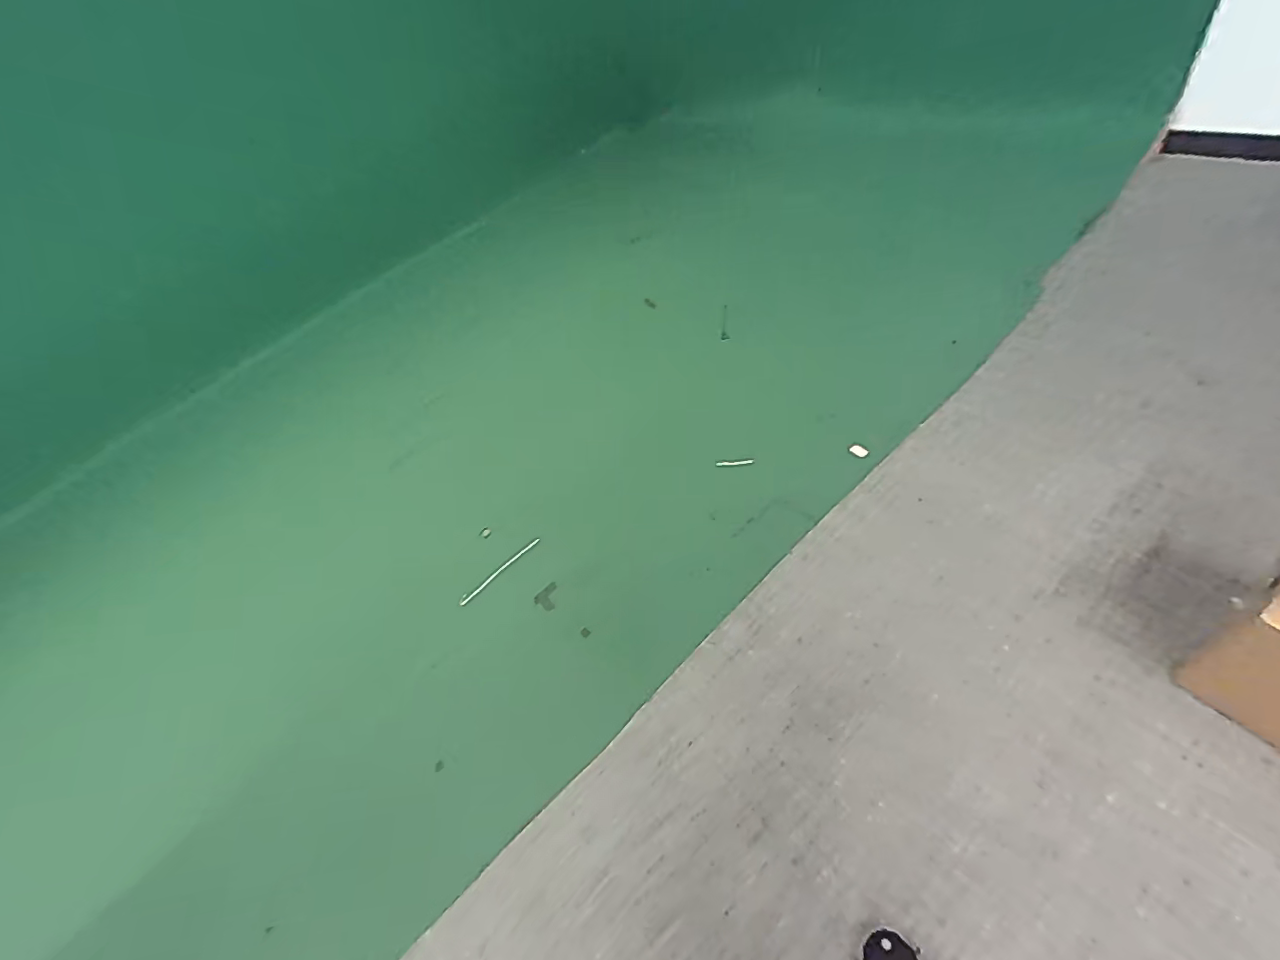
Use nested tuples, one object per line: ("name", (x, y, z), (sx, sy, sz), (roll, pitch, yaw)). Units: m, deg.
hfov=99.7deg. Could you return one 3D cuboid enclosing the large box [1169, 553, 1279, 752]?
("large box", (1.249, 0.326, 0.887), (0.320, 0.320, 0.408), (-38, 51, -11))
